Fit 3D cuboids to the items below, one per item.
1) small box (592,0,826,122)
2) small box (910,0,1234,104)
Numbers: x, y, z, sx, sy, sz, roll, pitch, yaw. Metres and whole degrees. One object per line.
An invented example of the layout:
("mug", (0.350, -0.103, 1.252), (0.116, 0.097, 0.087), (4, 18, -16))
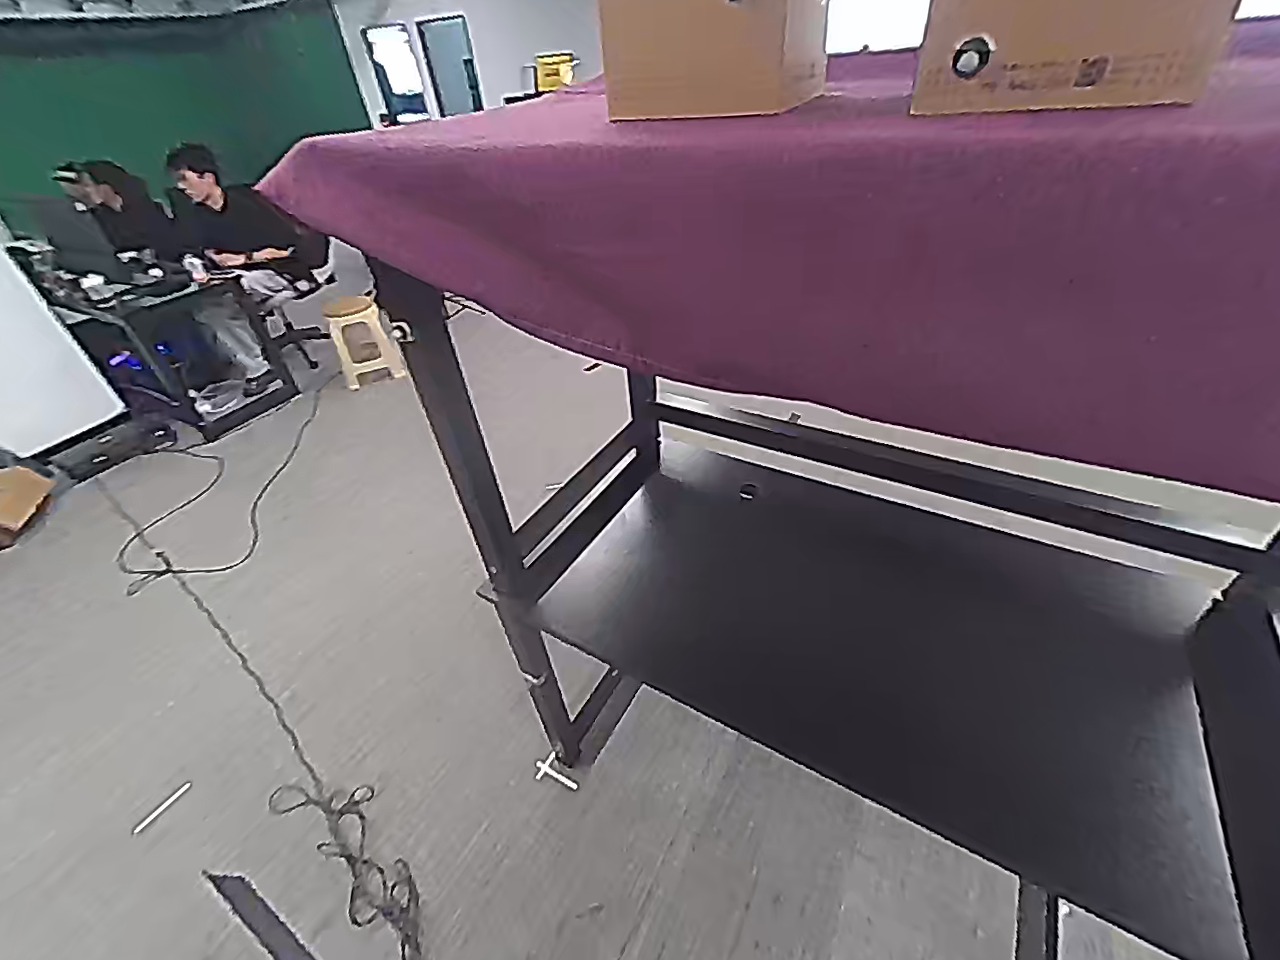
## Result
("small box", (0.070, -0.443, 0.498), (0.179, 0.176, 0.168), (14, 42, 24))
("small box", (0.292, -0.361, 0.363), (0.168, 0.176, 0.179), (14, 41, 23))
